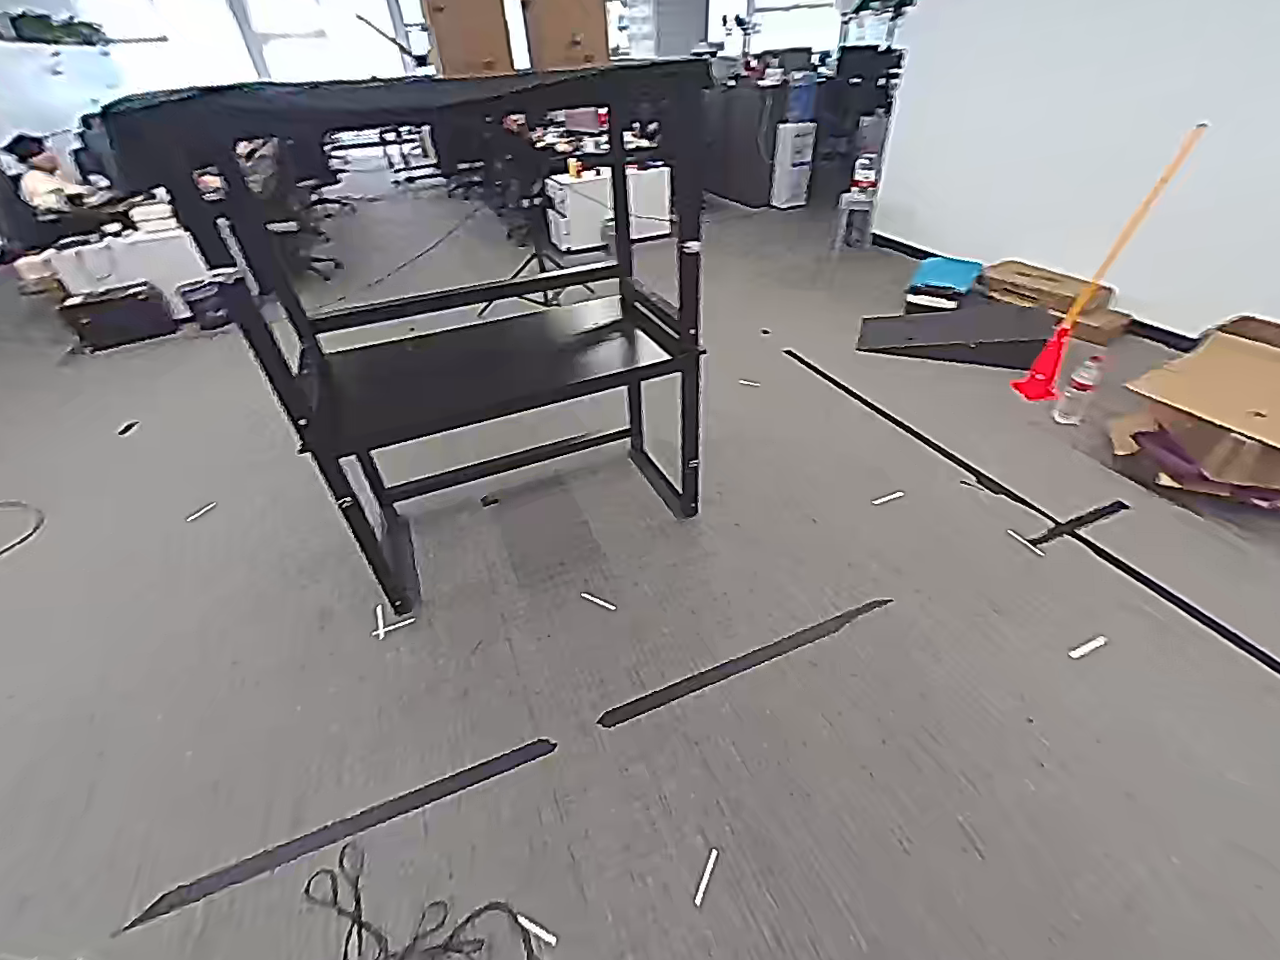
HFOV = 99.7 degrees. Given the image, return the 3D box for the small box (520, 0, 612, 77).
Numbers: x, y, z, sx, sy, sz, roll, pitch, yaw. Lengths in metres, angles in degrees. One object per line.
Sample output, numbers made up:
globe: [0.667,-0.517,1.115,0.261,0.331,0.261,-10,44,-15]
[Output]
small box: [-0.172,-1.037,1.242,0.168,0.176,0.179,-17,40,-15]
